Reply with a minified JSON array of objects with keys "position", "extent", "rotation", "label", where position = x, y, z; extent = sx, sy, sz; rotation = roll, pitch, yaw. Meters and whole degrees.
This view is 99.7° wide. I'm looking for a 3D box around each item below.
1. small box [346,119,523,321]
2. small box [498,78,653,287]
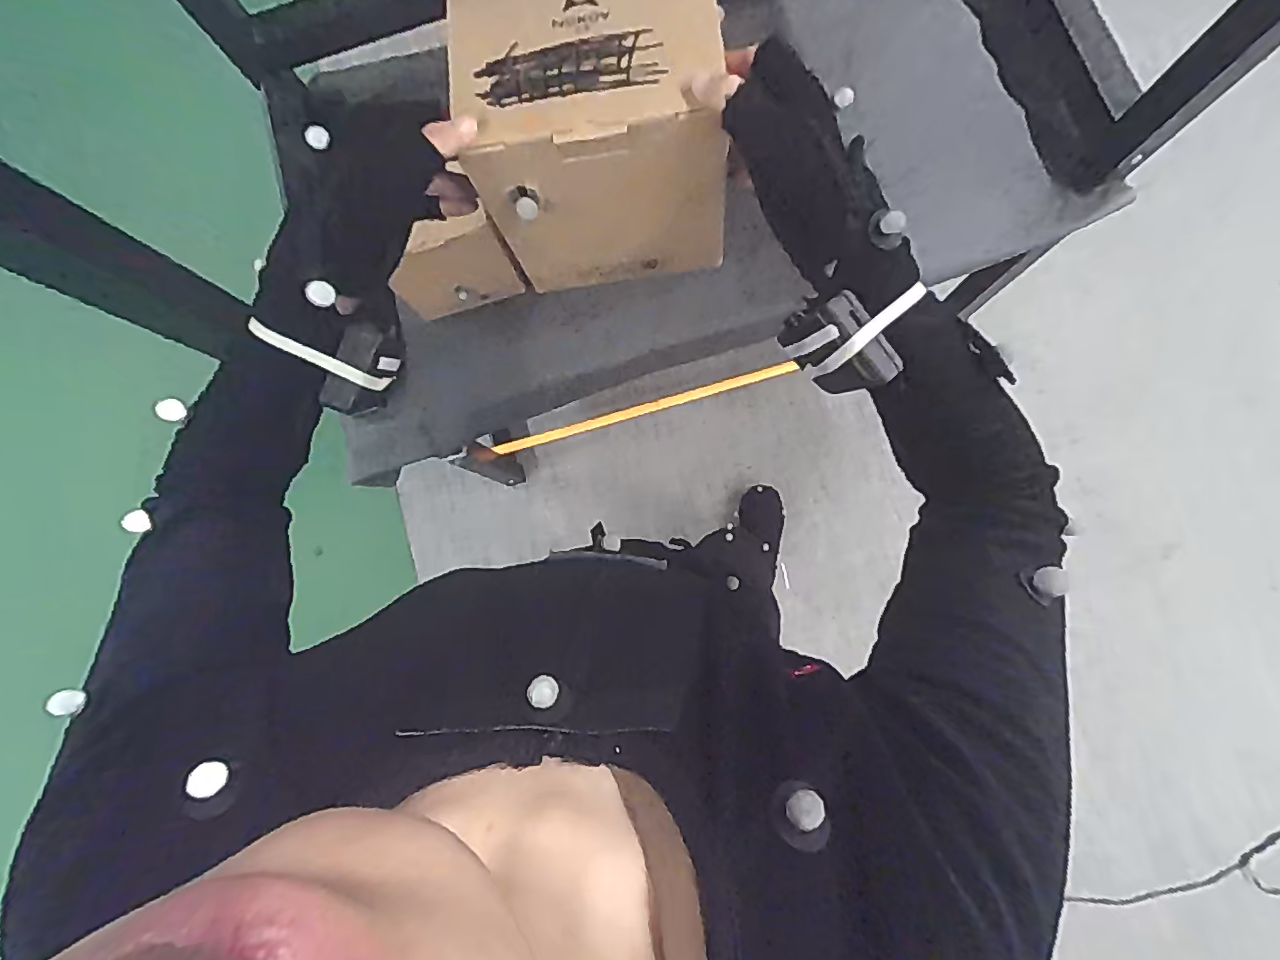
[{"position":[-0.284,-0.360,0.776],"extent":[0.168,0.176,0.179],"rotation":[-16,80,1],"label":"small box"},{"position":[-0.083,-0.411,0.772],"extent":[0.168,0.176,0.179],"rotation":[-16,81,2],"label":"small box"}]
